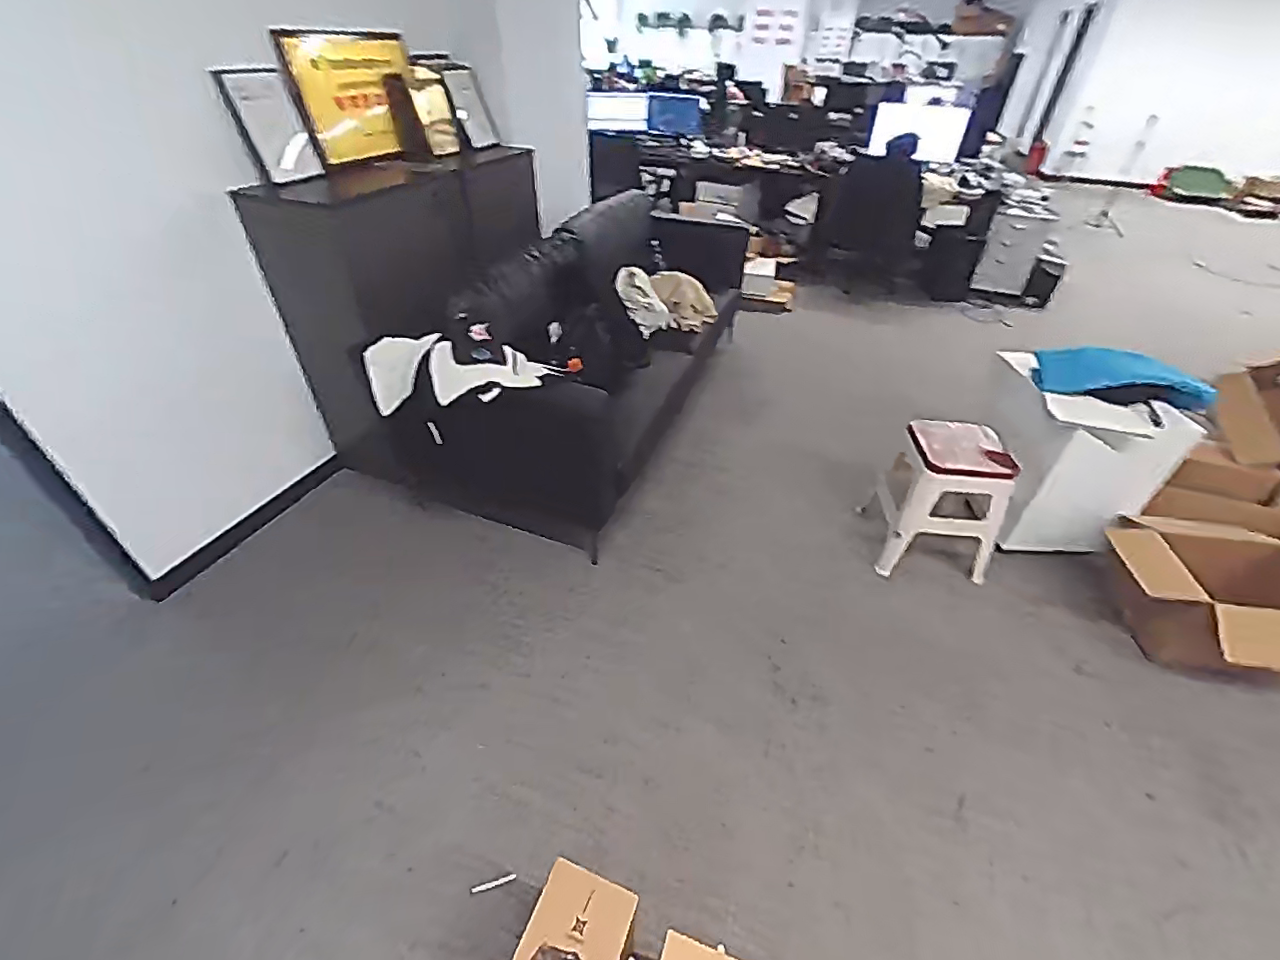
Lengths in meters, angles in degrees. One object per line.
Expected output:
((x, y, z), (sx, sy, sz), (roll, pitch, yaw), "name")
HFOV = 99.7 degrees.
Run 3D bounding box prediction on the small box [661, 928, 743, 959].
((0.103, 0.894, 0.894), (0.179, 0.176, 0.168), (14, 41, 14), "small box")
